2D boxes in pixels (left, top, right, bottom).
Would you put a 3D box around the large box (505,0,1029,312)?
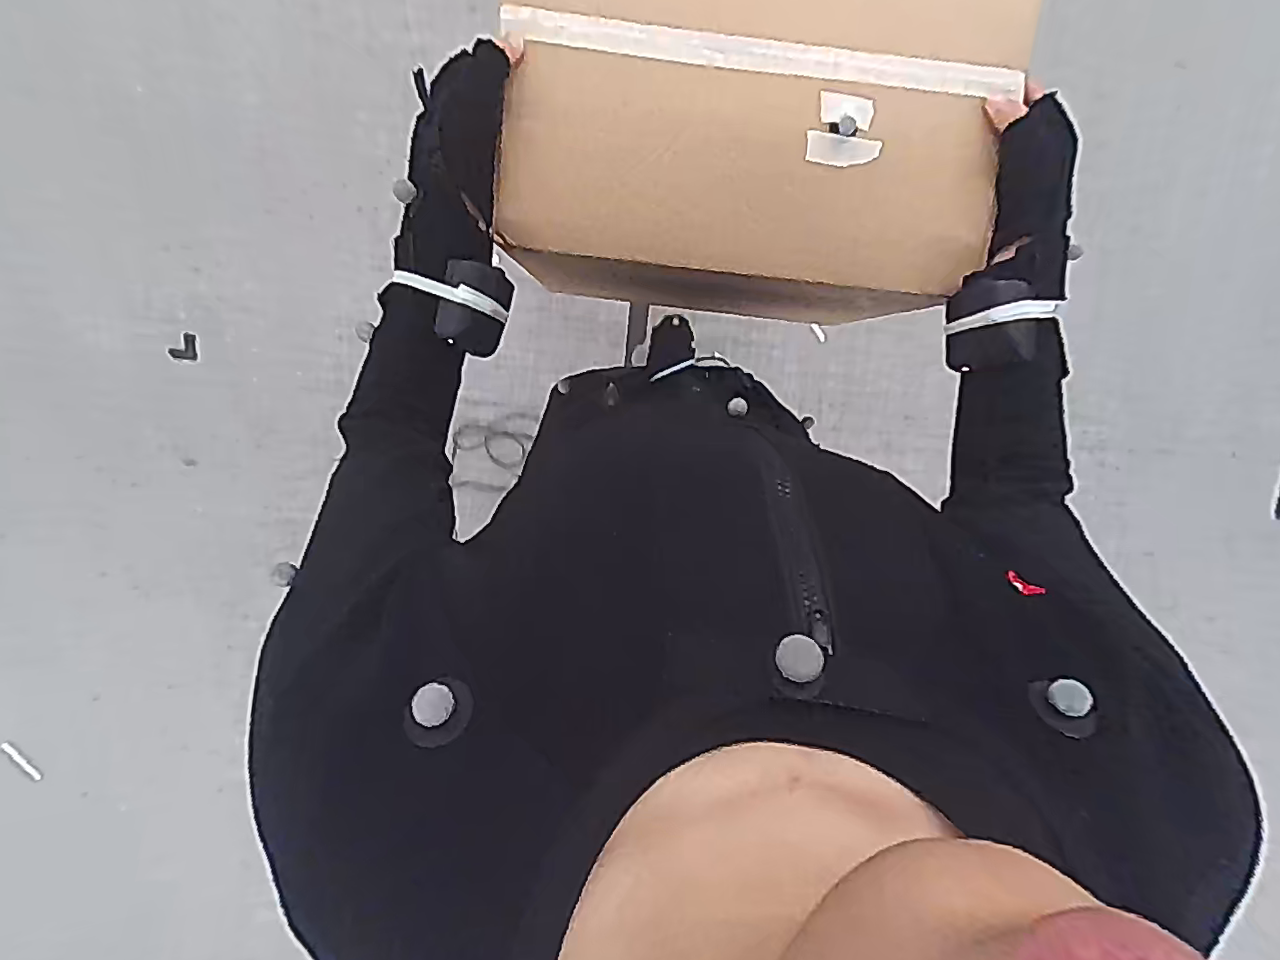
[{"bbox_3d":[0.091,-0.366,0.569,0.408,0.320,0.320,6,103,-3],"label":"large box"}]
